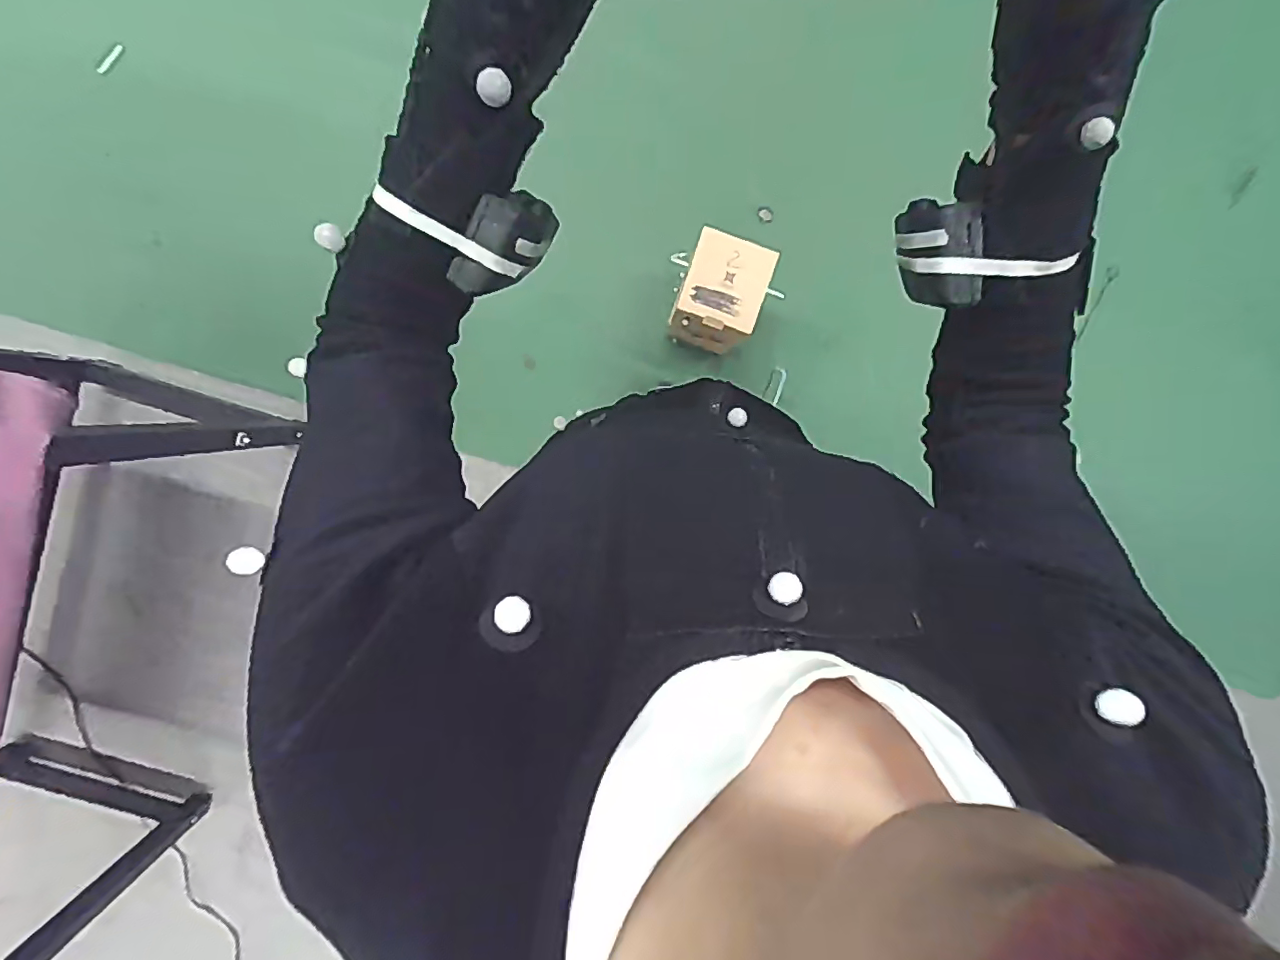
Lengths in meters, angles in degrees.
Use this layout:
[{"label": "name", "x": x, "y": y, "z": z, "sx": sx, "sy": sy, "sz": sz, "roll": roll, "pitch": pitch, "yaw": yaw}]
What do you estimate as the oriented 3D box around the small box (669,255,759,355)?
[{"label": "small box", "x": 0.175, "y": -0.424, "z": 1.346, "sx": 0.168, "sy": 0.176, "sz": 0.179, "roll": 20, "pitch": 95, "yaw": -4}]
